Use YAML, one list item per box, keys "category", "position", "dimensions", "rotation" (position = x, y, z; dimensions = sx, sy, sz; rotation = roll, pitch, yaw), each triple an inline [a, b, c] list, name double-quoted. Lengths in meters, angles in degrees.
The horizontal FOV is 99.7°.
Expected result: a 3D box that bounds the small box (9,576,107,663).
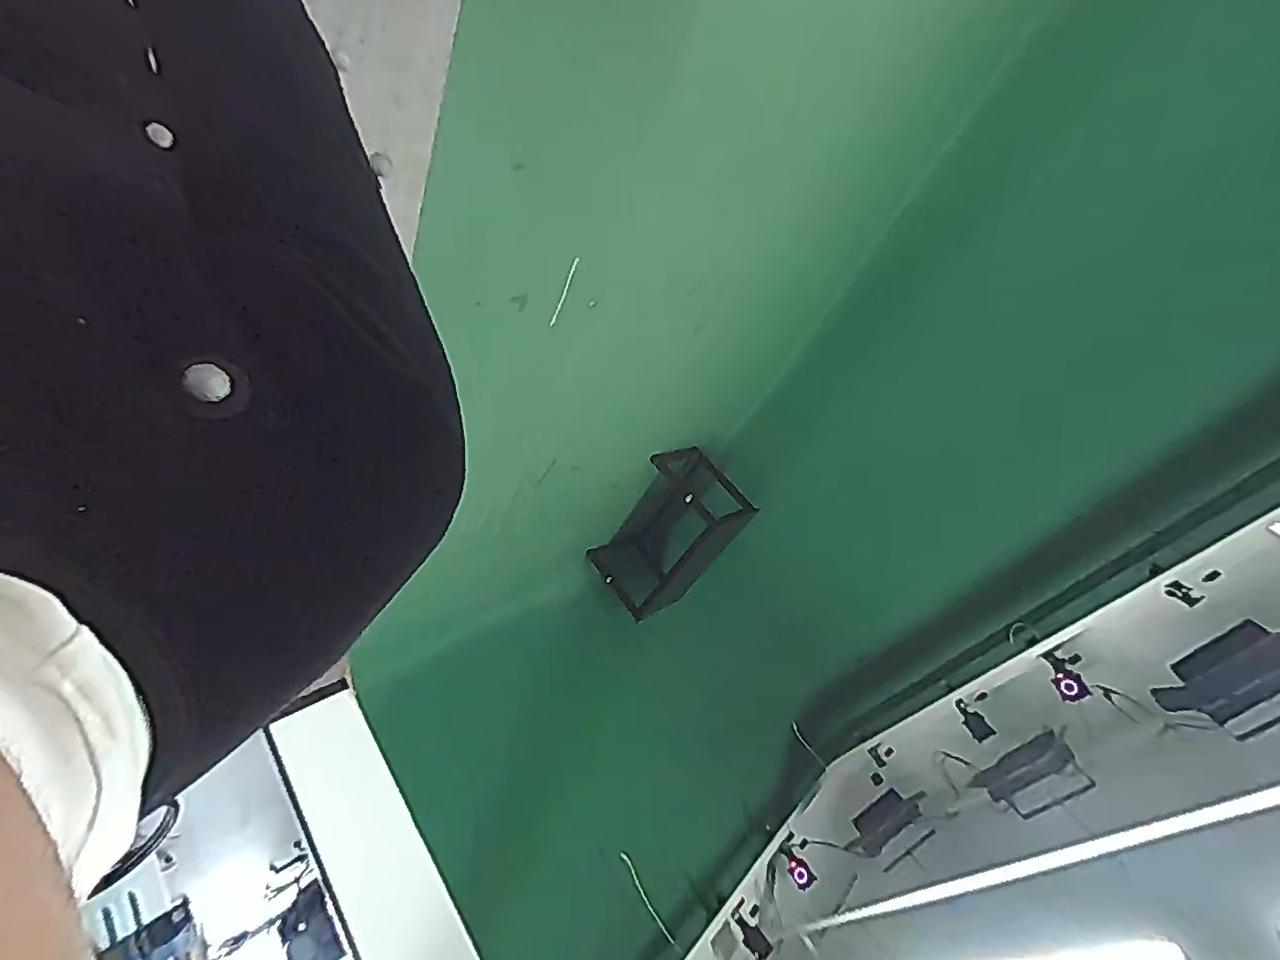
- category: "small box"
  position: [-1.825, 0.432, 1.695]
  dimensions: [0.179, 0.176, 0.168]
  rotation: [-20, 150, -42]
